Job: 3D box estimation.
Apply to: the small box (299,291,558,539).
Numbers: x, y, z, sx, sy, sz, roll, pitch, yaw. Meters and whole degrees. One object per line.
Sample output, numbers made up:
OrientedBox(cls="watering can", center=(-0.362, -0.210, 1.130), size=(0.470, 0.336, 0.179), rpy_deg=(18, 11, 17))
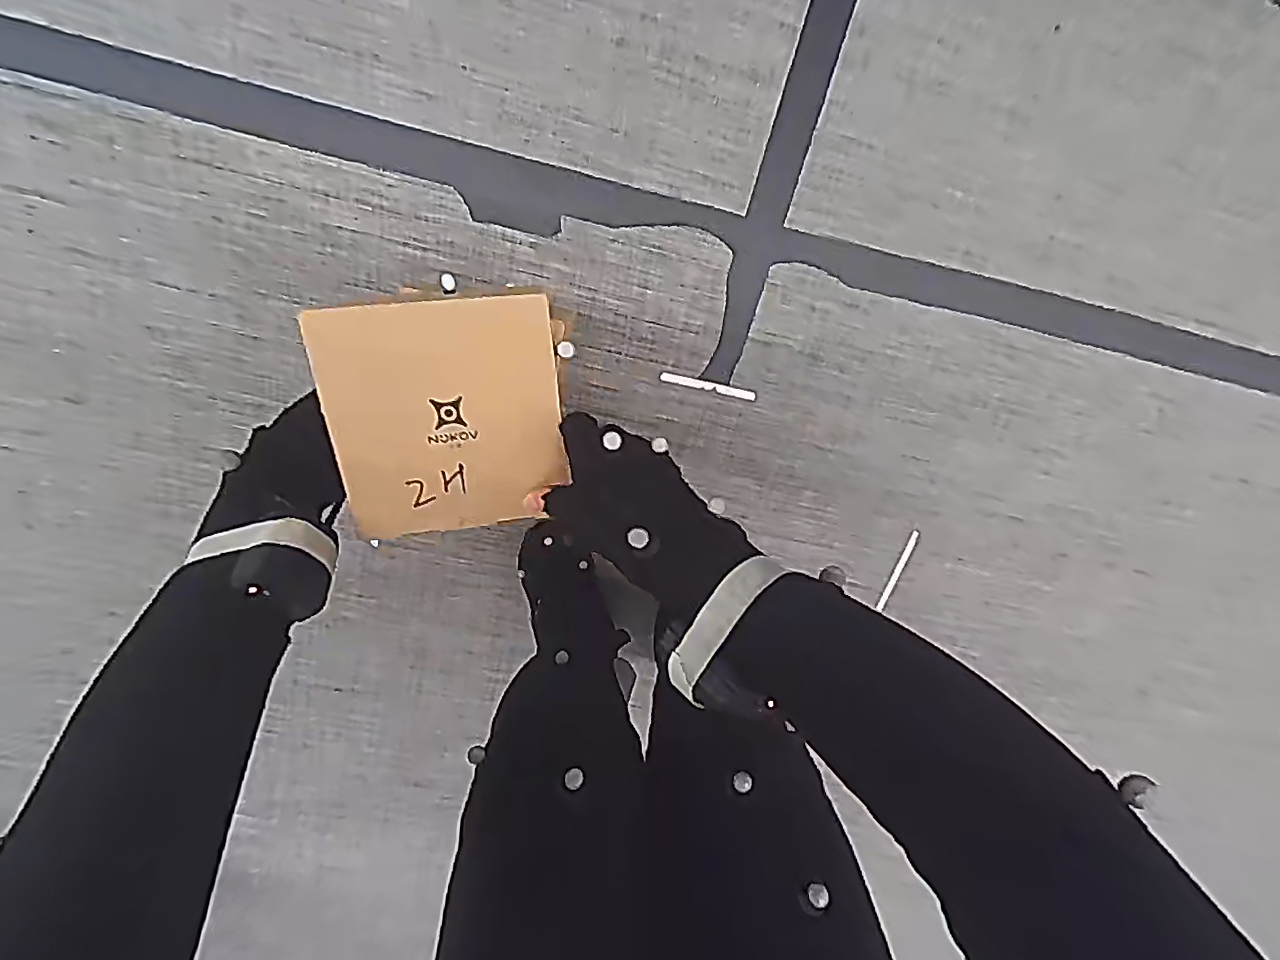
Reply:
OrientedBox(cls="small box", center=(-0.161, -0.069, 0.473), size=(0.168, 0.176, 0.179), rpy_deg=(-3, 114, -9))

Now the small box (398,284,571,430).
OrientedBox(cls="small box", center=(-0.178, -0.123, 0.637), size=(0.168, 0.176, 0.179), rpy_deg=(10, 110, -7))
